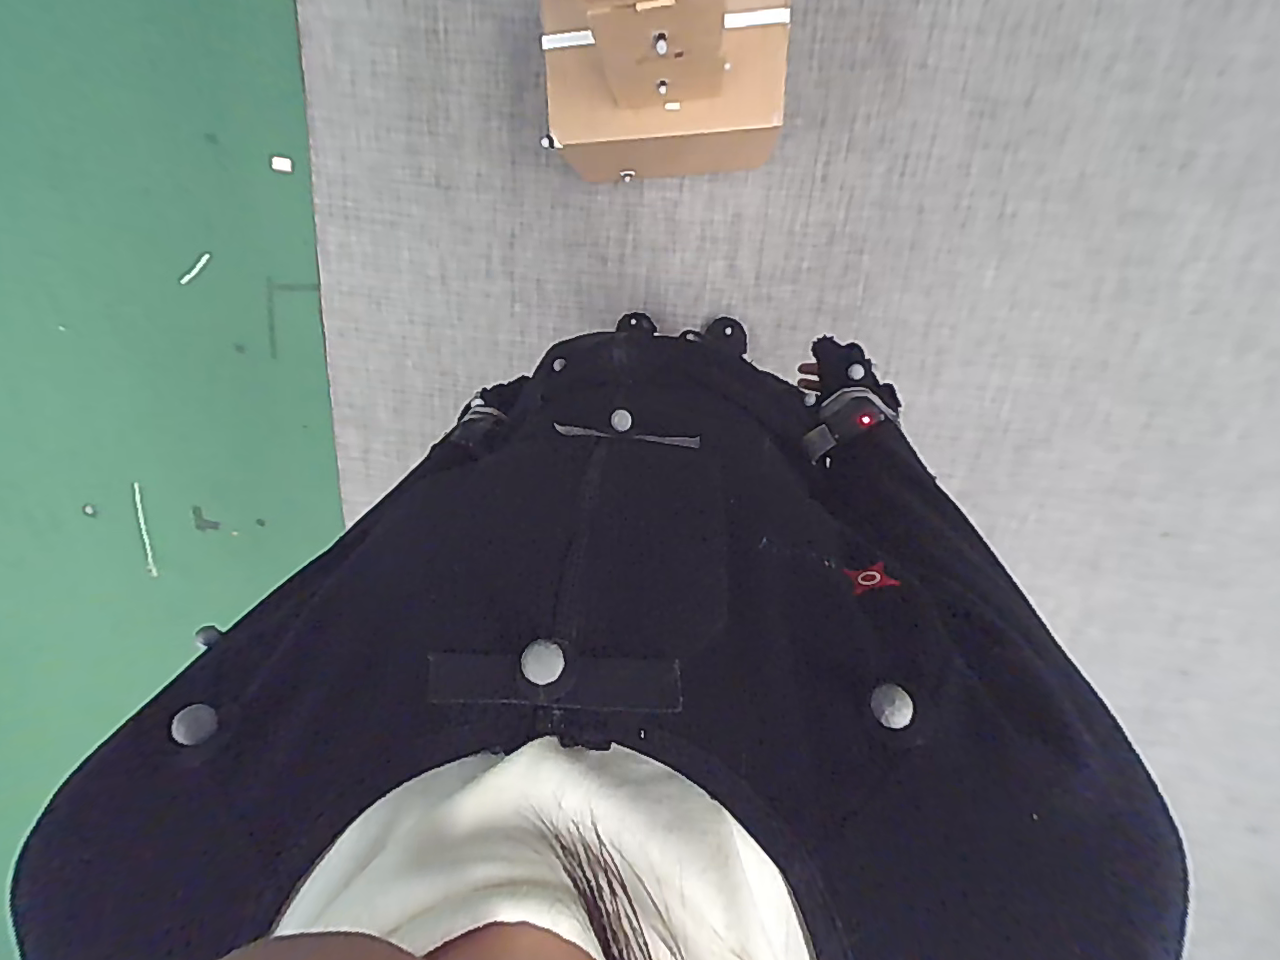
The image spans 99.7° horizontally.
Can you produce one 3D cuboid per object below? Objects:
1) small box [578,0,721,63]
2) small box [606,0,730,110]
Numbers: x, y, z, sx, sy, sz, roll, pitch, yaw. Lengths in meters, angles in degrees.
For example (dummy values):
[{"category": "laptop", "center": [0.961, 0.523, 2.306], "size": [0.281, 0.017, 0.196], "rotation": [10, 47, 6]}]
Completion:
[{"category": "small box", "center": [0.013, -0.642, 0.656], "size": [0.168, 0.176, 0.179], "rotation": [-3, 108, 7]}, {"category": "small box", "center": [0.035, -0.688, 0.811], "size": [0.179, 0.176, 0.168], "rotation": [-6, 107, 7]}]
